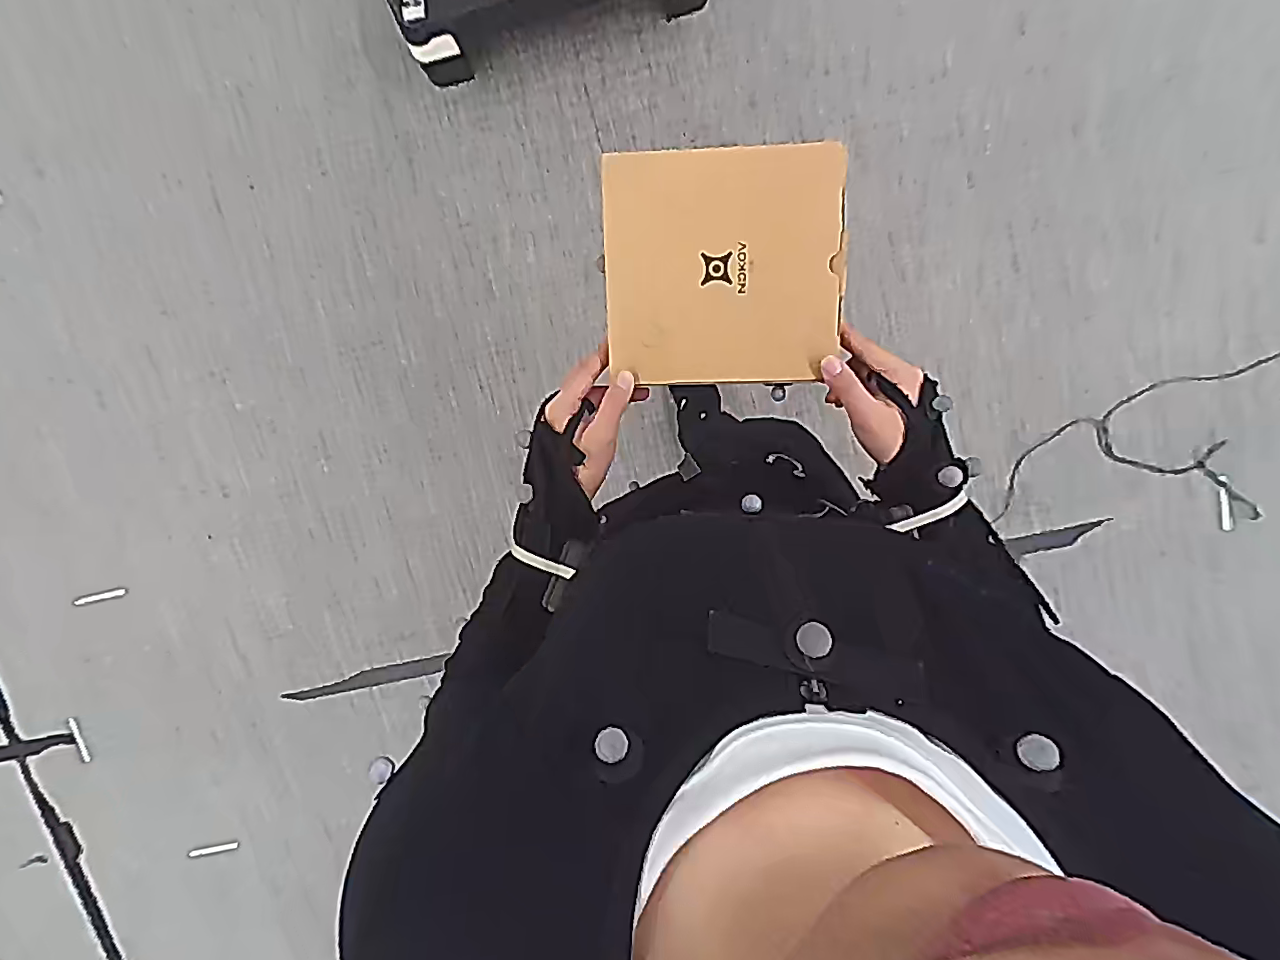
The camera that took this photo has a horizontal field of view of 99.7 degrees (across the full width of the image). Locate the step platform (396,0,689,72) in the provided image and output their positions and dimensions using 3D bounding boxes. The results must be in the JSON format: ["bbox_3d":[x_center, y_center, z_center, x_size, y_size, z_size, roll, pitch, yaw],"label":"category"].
[{"bbox_3d":[-0.196,-1.139,1.129,0.684,0.204,0.286,-14,97,5],"label":"step platform"}]

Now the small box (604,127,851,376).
[{"bbox_3d":[0.067,-0.178,0.473,0.179,0.176,0.168,-1,100,2],"label":"small box"}]
